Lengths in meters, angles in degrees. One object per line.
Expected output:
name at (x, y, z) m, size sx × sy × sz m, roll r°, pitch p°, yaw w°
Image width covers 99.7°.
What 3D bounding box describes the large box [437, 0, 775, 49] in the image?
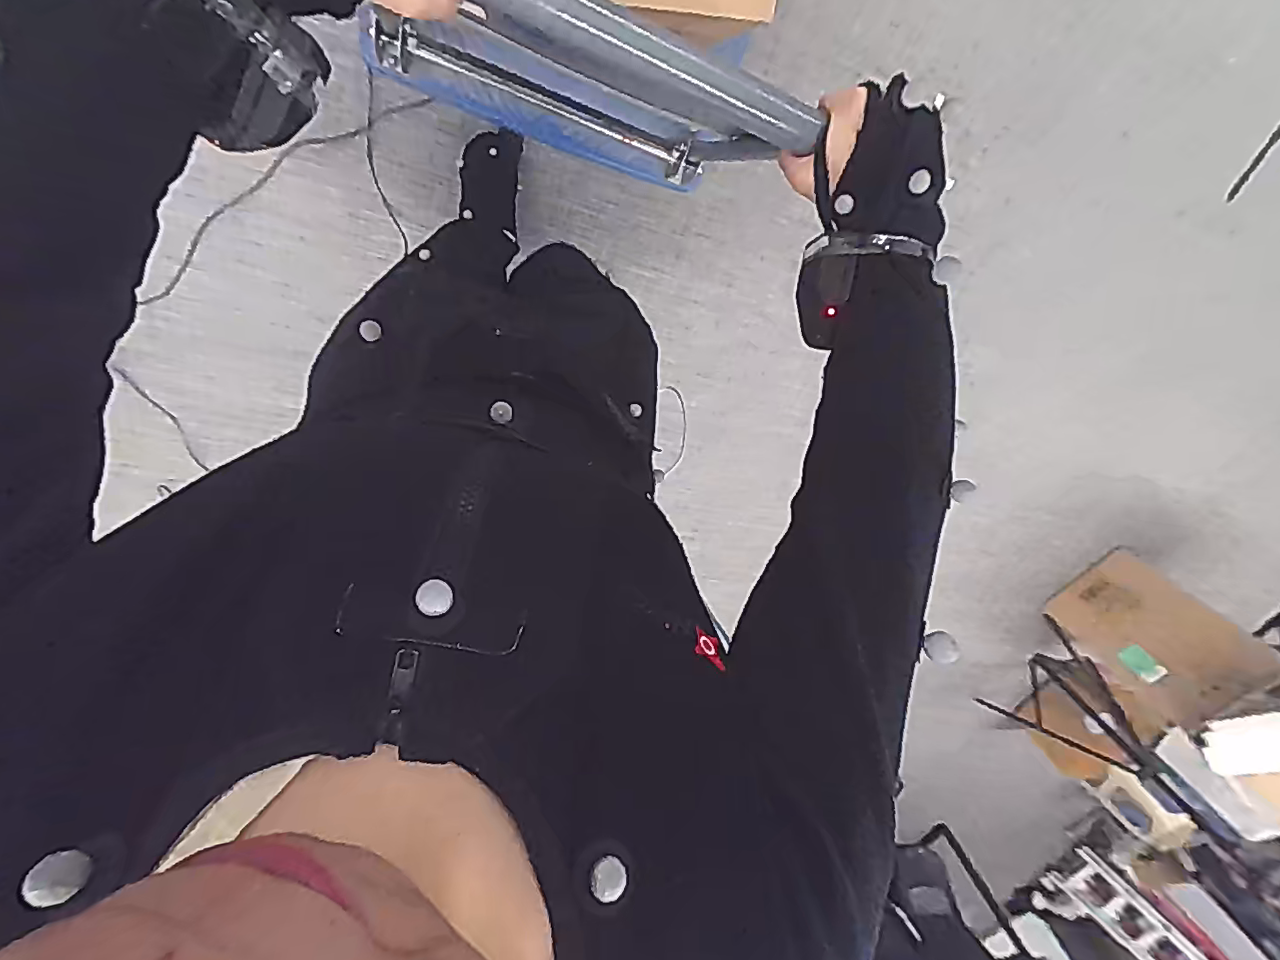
large box at (-0.062, -0.750, 0.655) m, size 0.408 × 0.320 × 0.320 m, roll -5°, pitch 123°, yaw -14°
